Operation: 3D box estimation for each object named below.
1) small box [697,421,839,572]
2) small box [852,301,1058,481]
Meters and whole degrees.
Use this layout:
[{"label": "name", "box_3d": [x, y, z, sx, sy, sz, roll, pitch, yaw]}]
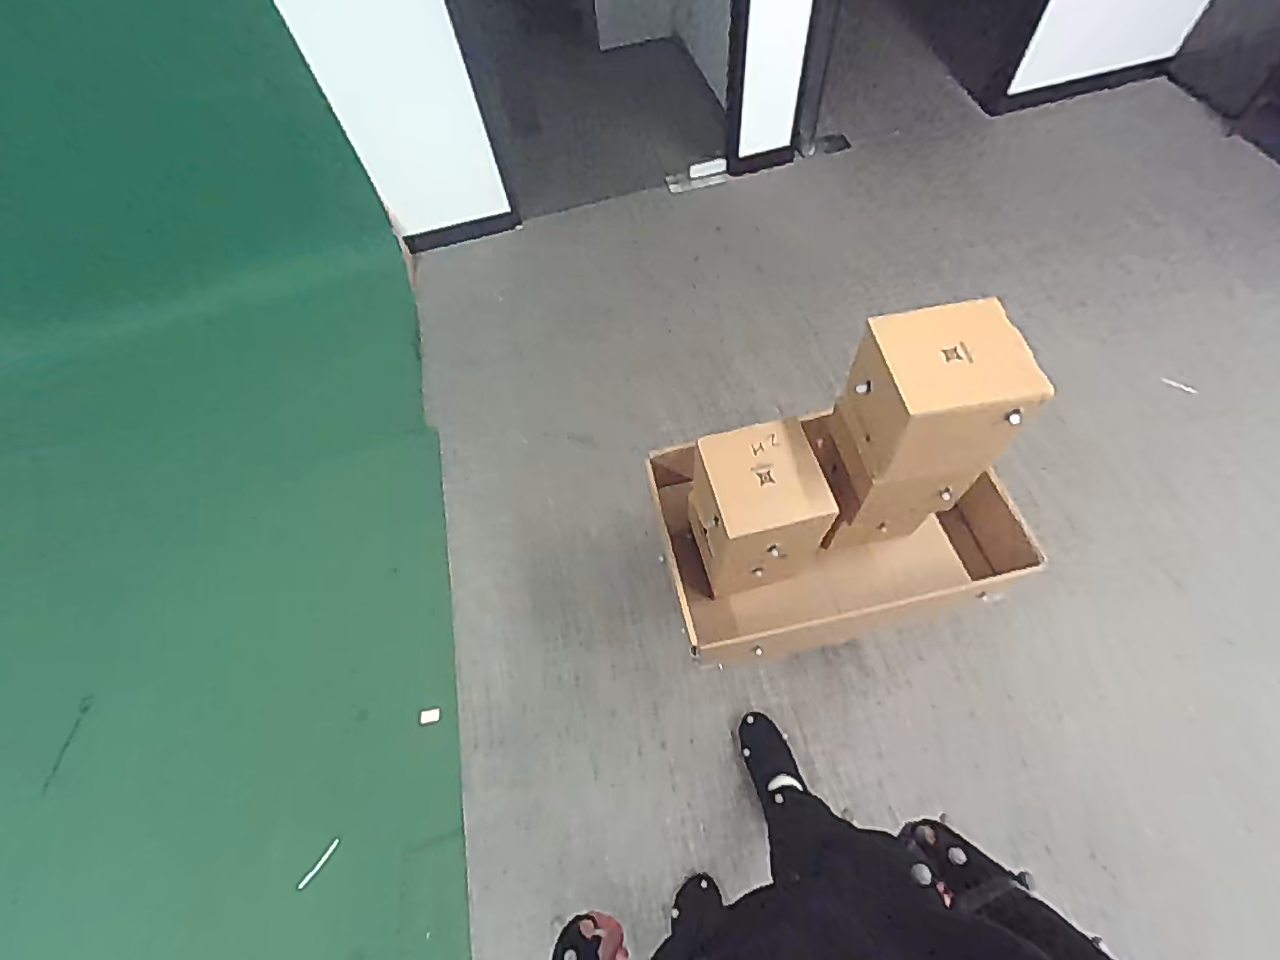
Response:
[{"label": "small box", "box_3d": [0.193, 0.036, 0.868, 0.168, 0.176, 0.179, -13, 61, -2]}, {"label": "small box", "box_3d": [0.407, -0.114, 0.744, 0.179, 0.176, 0.168, -9, 60, 3]}]
